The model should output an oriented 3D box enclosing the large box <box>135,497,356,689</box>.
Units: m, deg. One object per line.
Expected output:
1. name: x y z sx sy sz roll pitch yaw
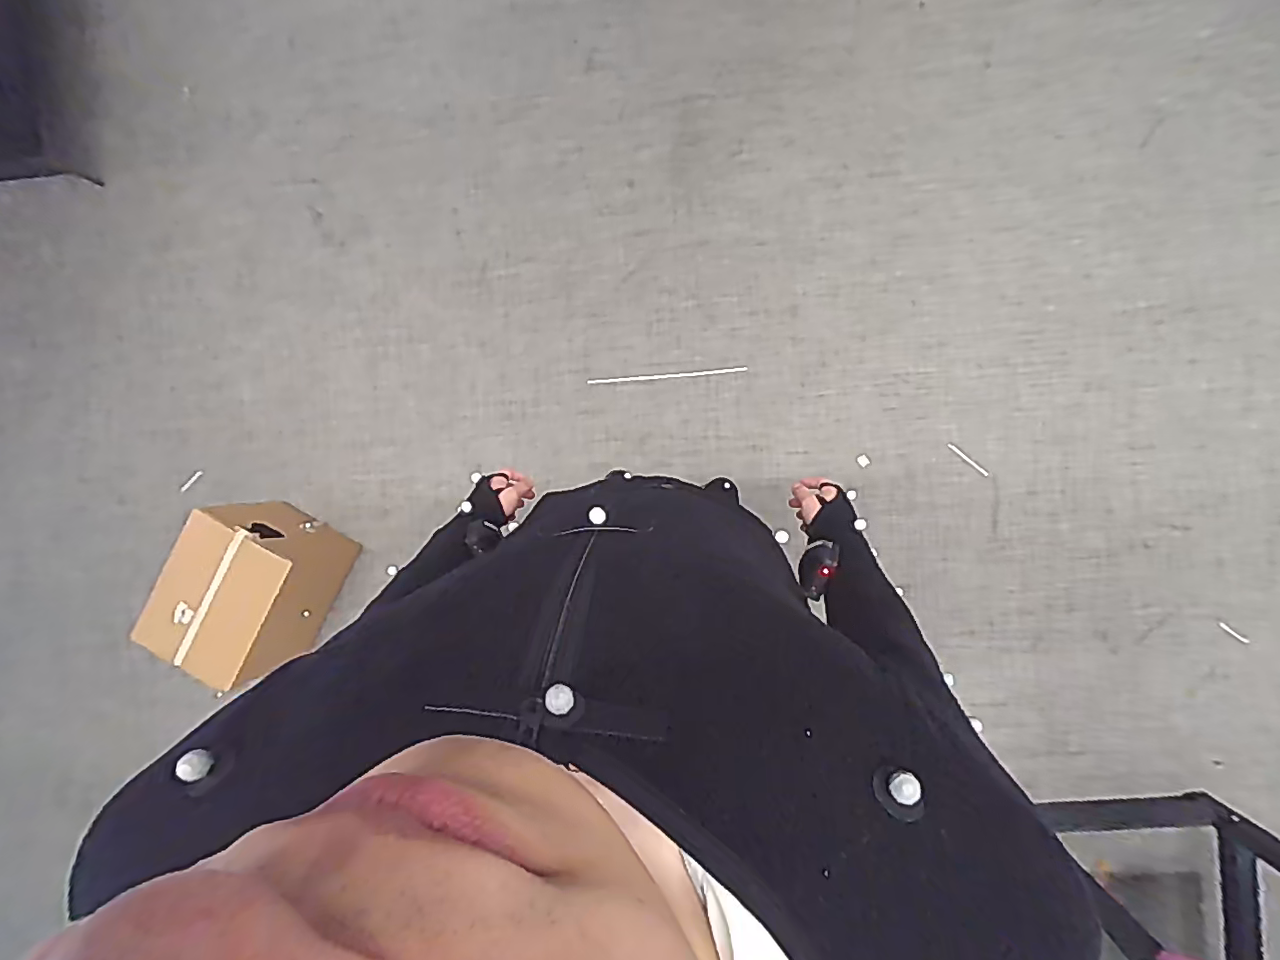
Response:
1. large box: -1.116 0.302 1.569 0.320 0.320 0.408 28 94 3
